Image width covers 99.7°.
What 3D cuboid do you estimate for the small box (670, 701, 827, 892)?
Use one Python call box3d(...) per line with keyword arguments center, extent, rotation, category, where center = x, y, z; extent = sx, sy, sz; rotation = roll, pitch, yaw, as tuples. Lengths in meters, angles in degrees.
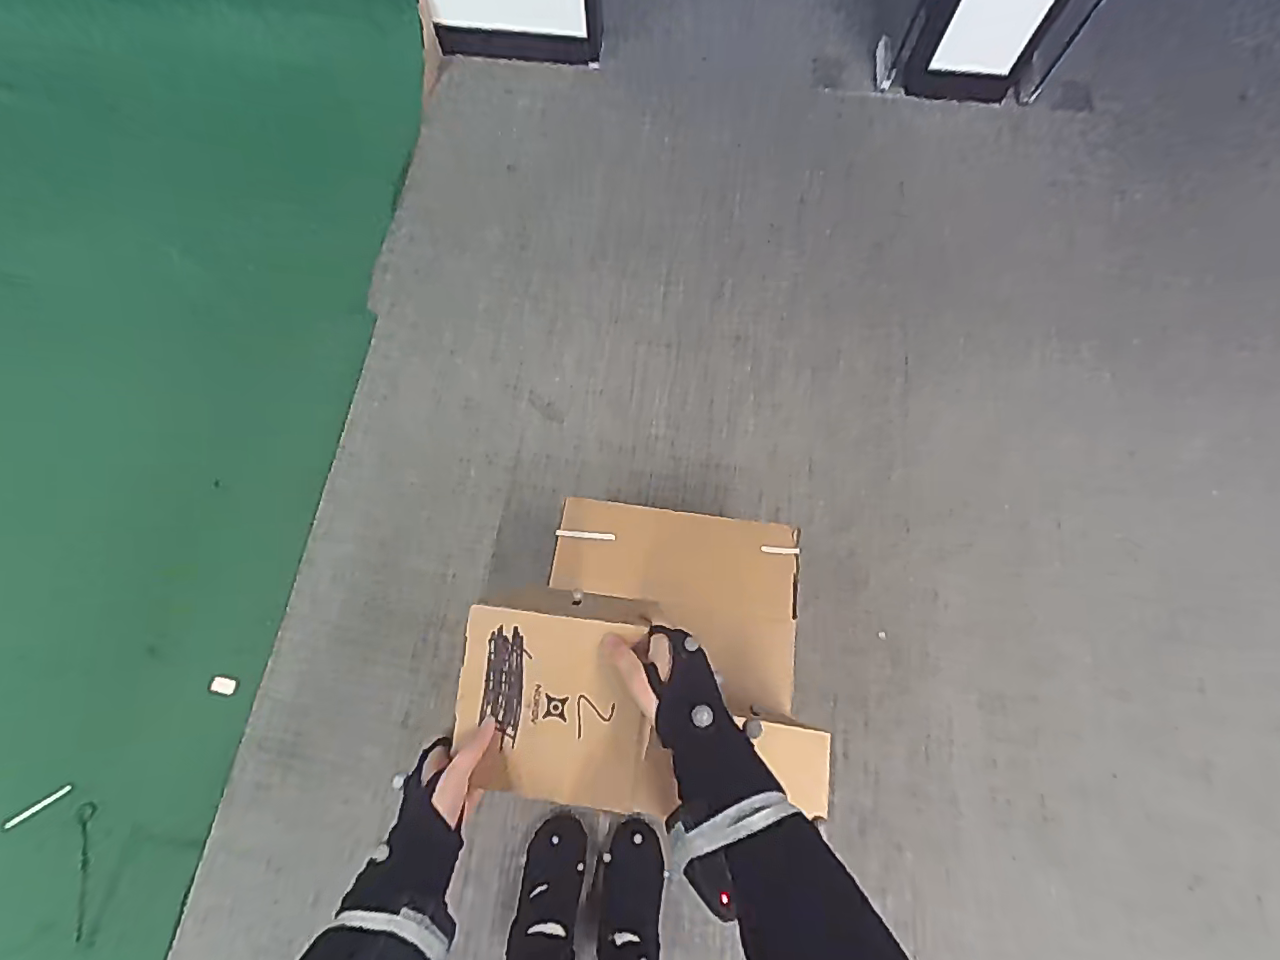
box3d(center=(0.135, 0.400, 0.718), extent=(0.168, 0.176, 0.179), rotation=(9, 72, 2), category="small box")
